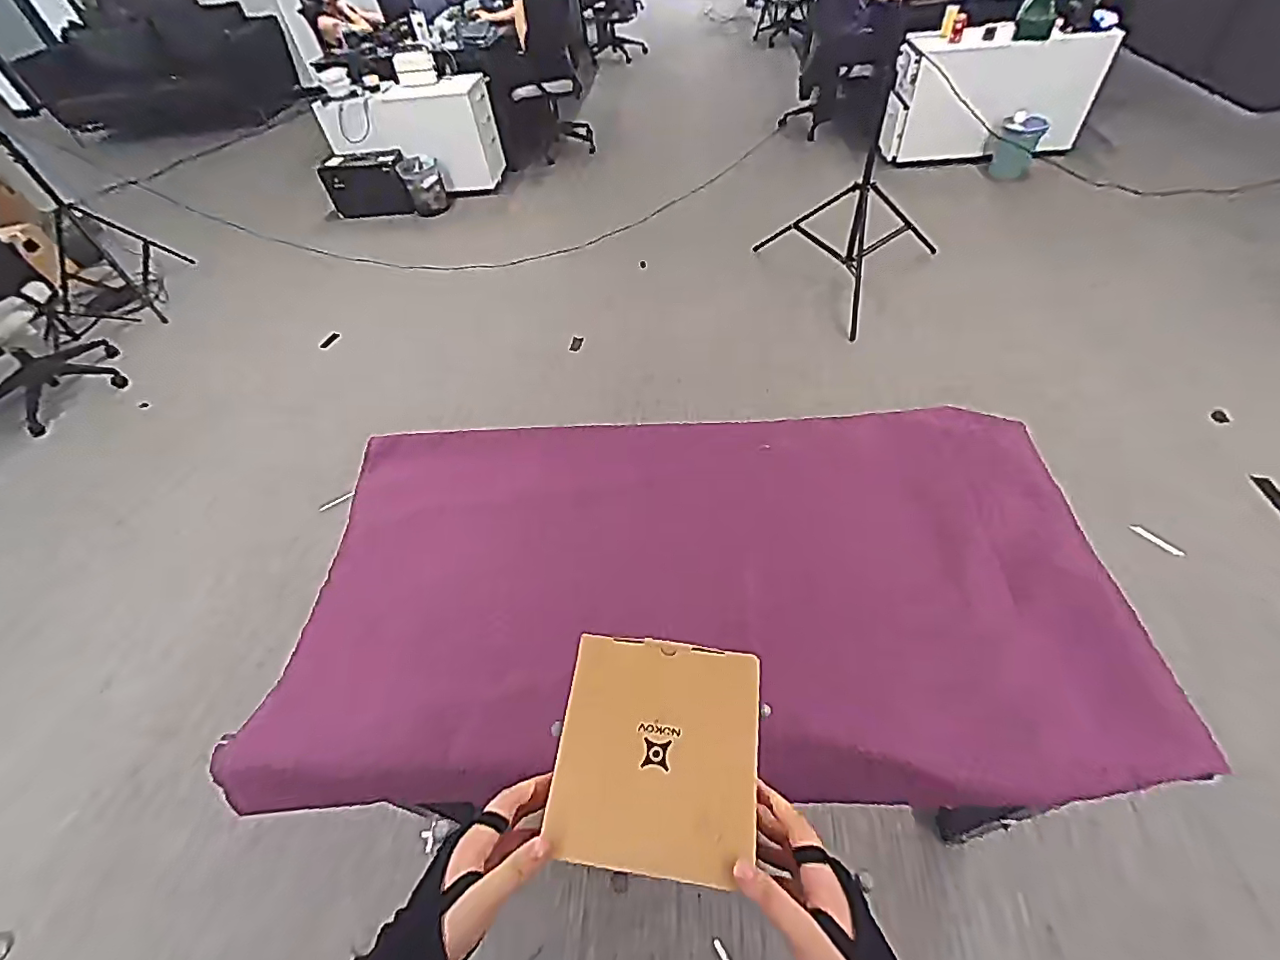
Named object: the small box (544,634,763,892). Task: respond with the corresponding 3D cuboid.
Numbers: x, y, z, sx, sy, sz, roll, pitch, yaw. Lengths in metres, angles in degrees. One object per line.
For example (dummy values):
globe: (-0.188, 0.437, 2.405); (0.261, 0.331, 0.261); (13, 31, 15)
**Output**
small box: (0.023, 0.268, 0.515); (0.168, 0.176, 0.179); (5, 55, 7)
